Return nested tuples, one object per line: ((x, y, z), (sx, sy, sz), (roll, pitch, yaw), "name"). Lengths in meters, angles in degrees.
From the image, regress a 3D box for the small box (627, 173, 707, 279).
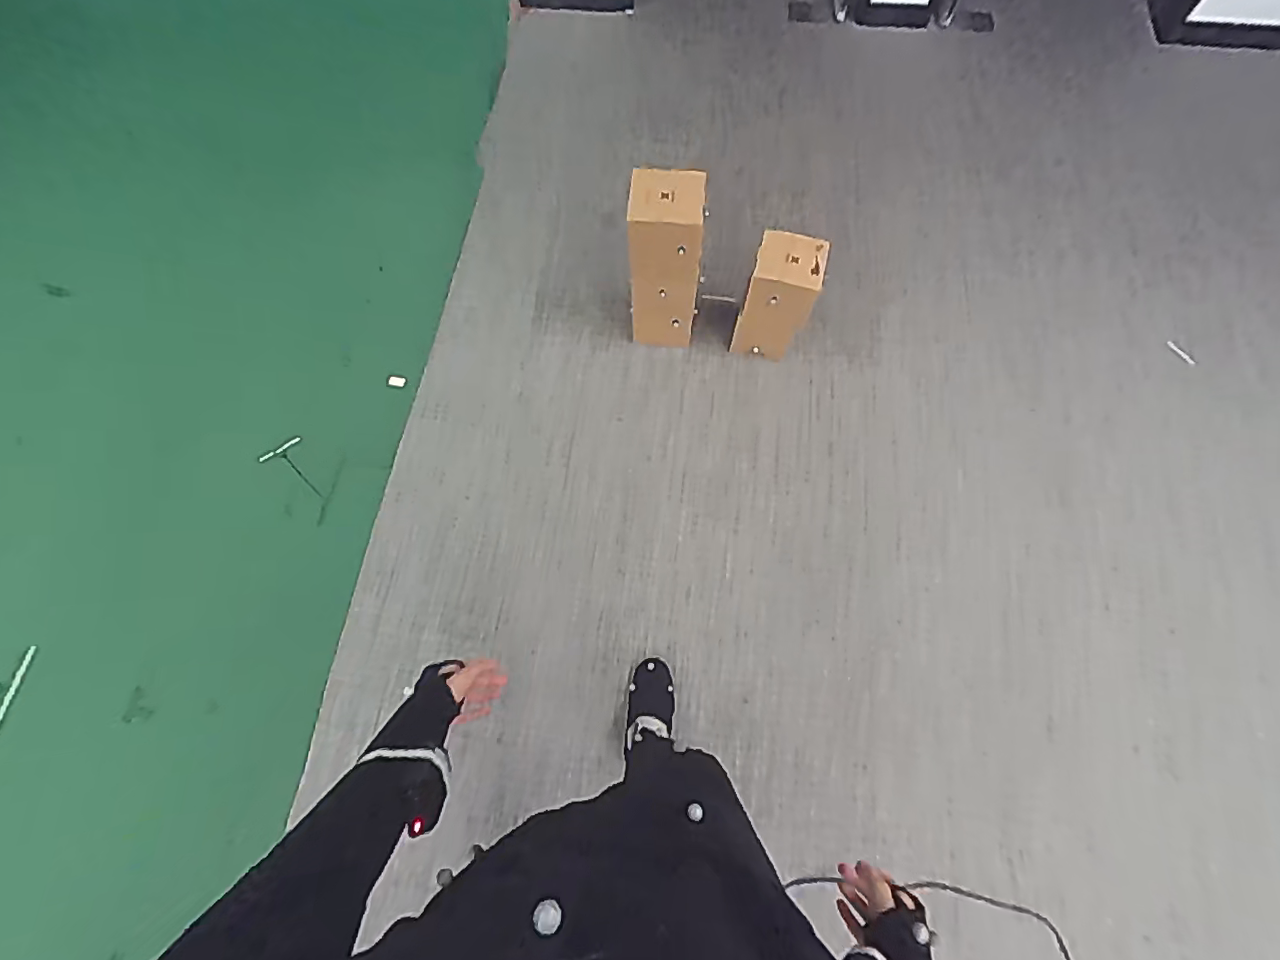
((0.066, -0.619, 1.329), (0.179, 0.176, 0.168), (5, 69, 4), "small box")

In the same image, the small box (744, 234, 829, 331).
((0.390, -0.528, 1.466), (0.179, 0.176, 0.168), (15, 70, 8), "small box")

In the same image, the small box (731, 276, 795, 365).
((0.378, -0.476, 1.622), (0.168, 0.176, 0.179), (15, 71, 7), "small box")
